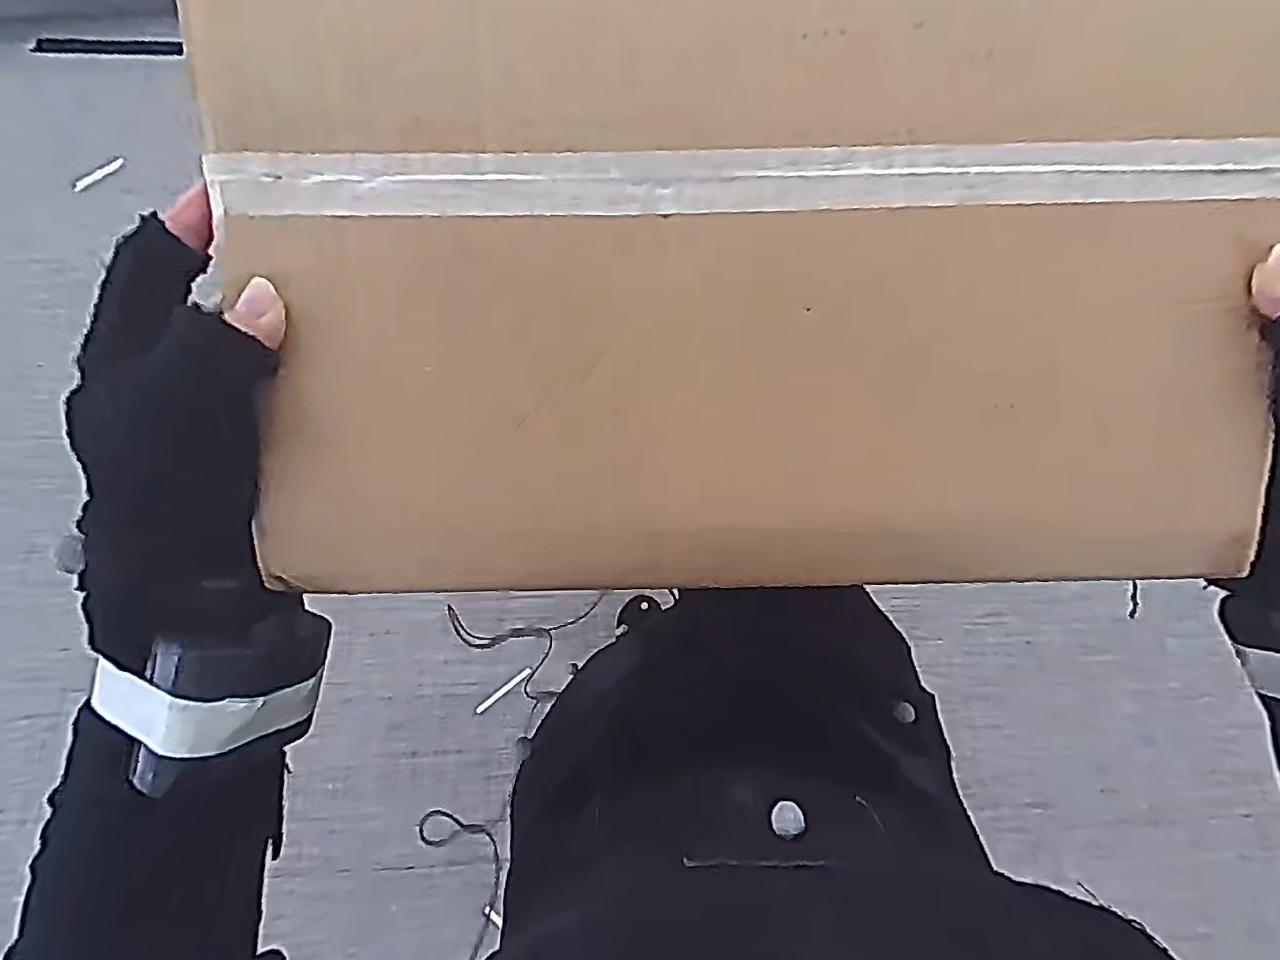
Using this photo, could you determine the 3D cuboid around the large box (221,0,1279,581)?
[{"bbox_3d":[0.043,-0.135,0.362,0.408,0.320,0.320,-1,98,-1],"label":"large box"}]
